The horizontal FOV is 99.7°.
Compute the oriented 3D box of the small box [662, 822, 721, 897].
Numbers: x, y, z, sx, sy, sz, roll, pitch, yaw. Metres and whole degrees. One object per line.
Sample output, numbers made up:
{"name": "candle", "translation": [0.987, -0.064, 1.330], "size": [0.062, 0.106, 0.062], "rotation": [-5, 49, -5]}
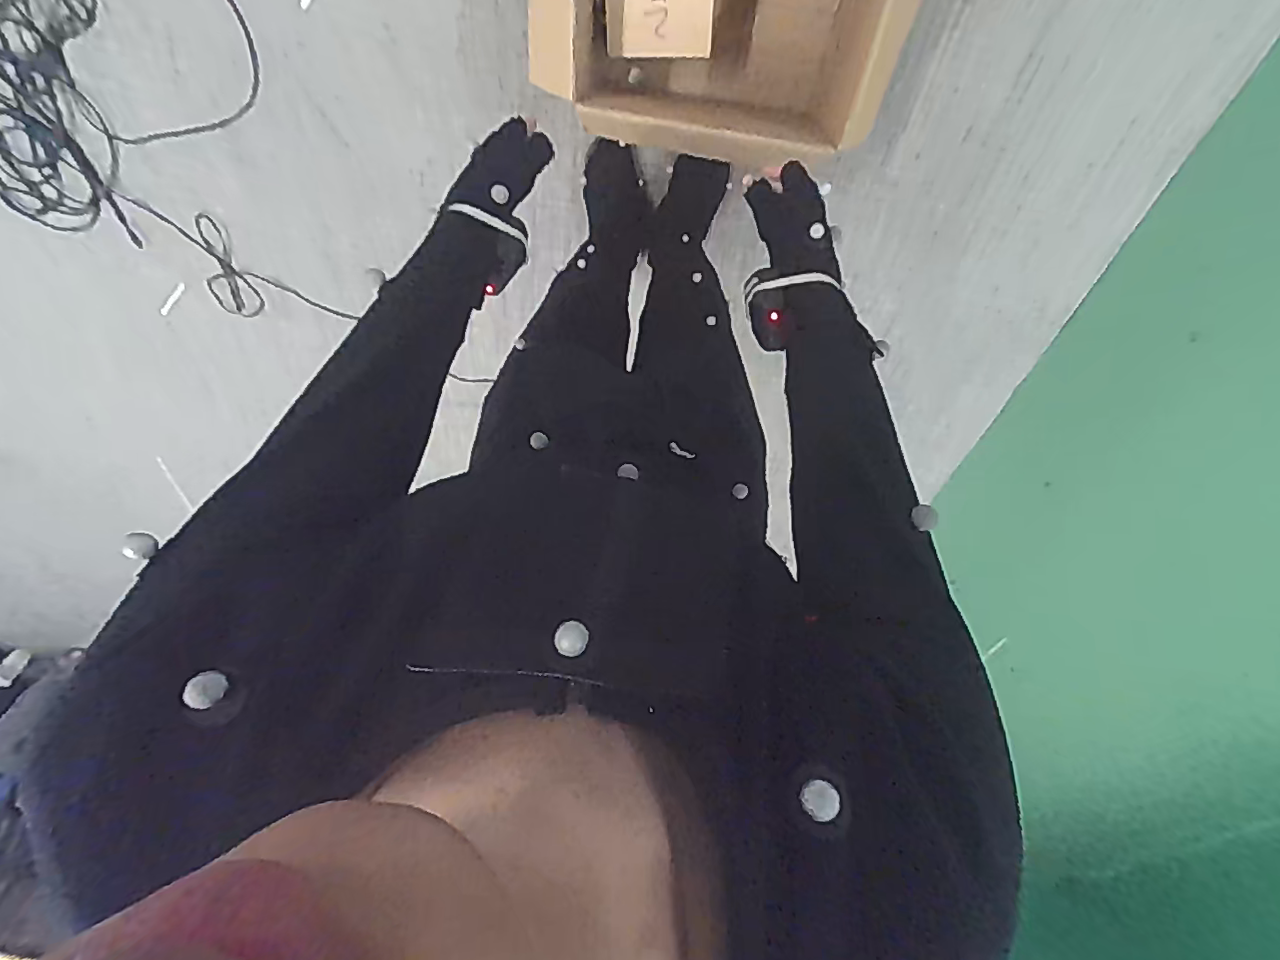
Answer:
{"name": "small box", "translation": [0.168, 1.252, 1.788], "size": [0.168, 0.176, 0.179], "rotation": [8, 134, -1]}
